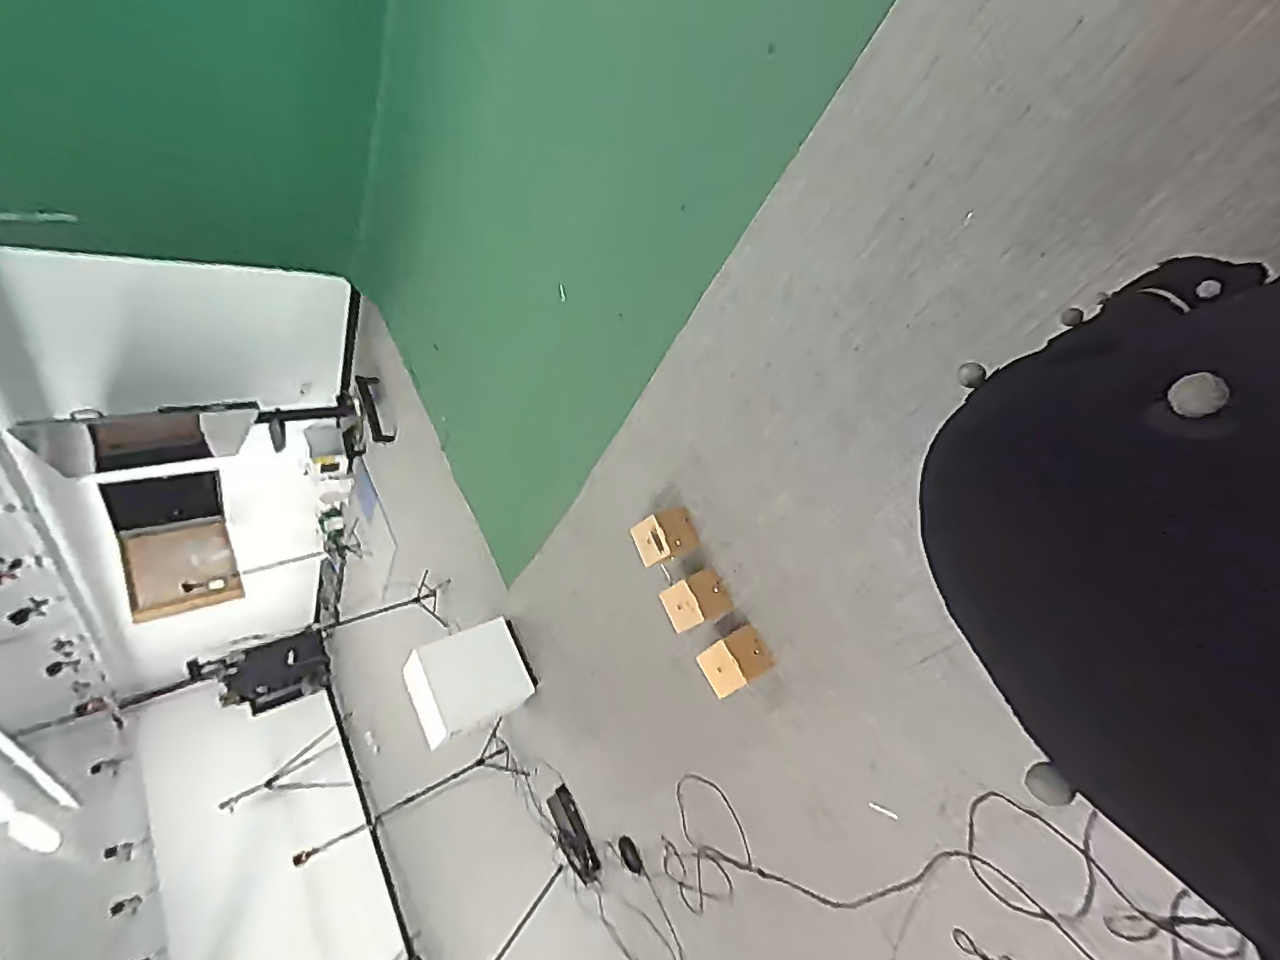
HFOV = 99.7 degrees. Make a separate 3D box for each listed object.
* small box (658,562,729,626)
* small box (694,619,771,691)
[{"bbox_3d":[0.205,0.430,2.051,0.179,0.176,0.168,-42,69,44],"label":"small box"},{"bbox_3d":[0.336,0.629,1.954,0.168,0.176,0.179,58,135,21],"label":"small box"}]
